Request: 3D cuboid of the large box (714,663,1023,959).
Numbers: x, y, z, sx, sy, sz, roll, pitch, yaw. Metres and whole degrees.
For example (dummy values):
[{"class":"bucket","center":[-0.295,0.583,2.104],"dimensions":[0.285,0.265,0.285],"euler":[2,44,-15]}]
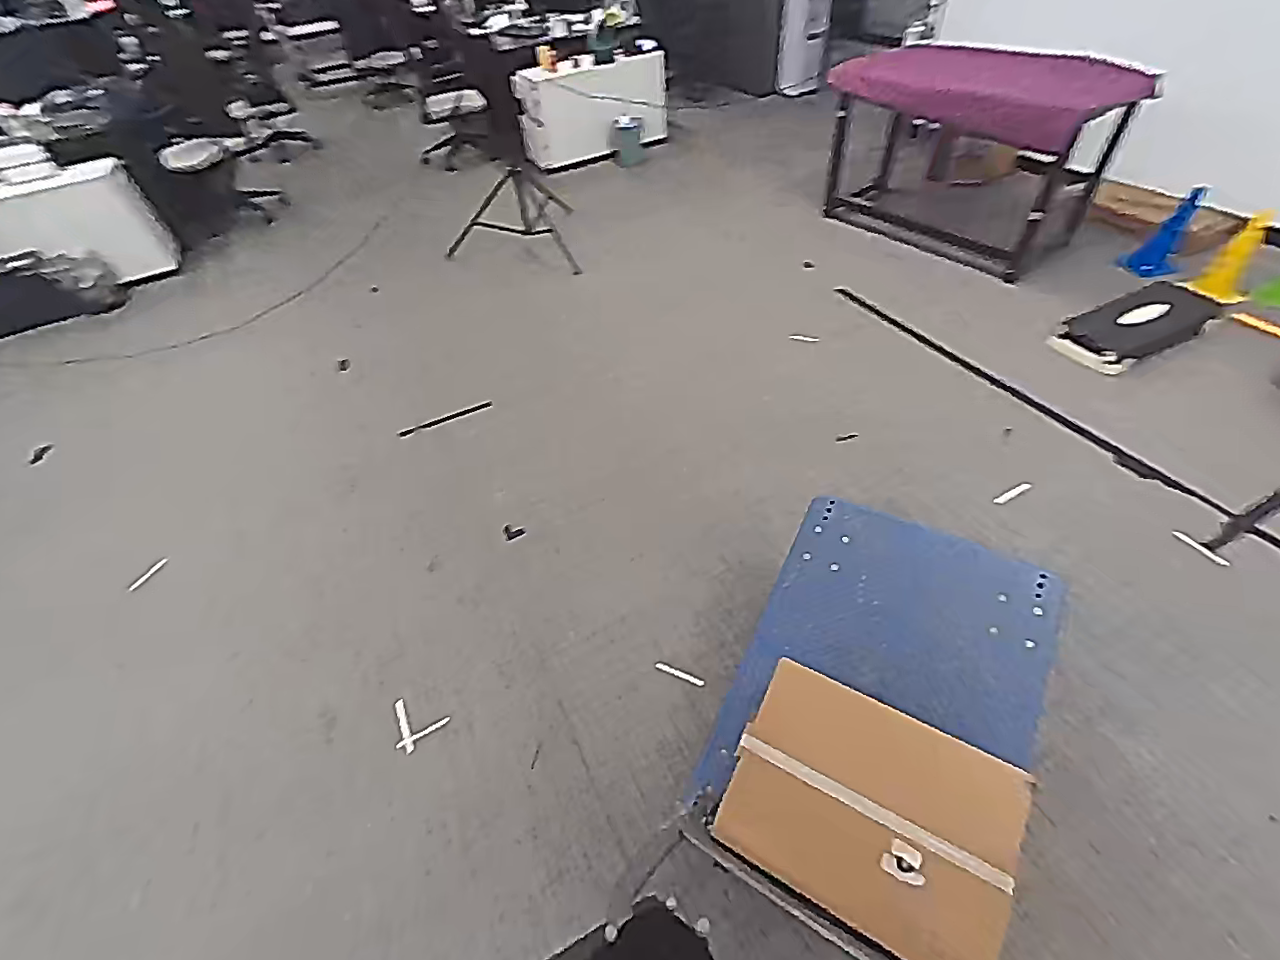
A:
[{"class":"large box","center":[0.384,0.591,0.989],"dimensions":[0.408,0.320,0.320],"euler":[21,68,22]}]
